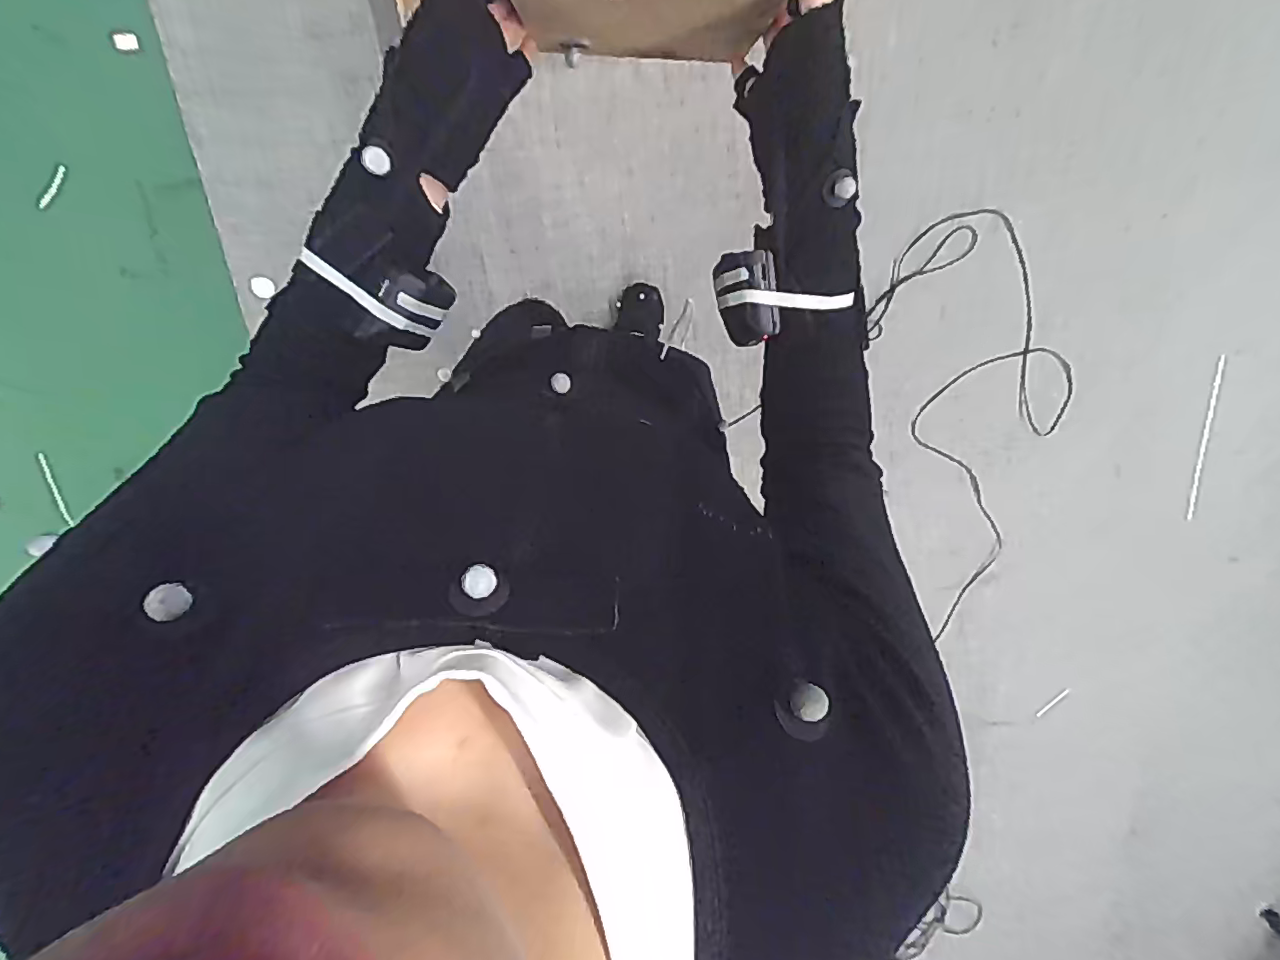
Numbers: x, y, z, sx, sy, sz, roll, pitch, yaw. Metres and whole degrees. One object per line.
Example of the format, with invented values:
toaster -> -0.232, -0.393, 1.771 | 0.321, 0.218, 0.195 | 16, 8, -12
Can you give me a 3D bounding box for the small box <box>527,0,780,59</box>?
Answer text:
small box -> 0.012, -0.376, 0.318 | 0.168, 0.176, 0.179 | 1, 115, -3
